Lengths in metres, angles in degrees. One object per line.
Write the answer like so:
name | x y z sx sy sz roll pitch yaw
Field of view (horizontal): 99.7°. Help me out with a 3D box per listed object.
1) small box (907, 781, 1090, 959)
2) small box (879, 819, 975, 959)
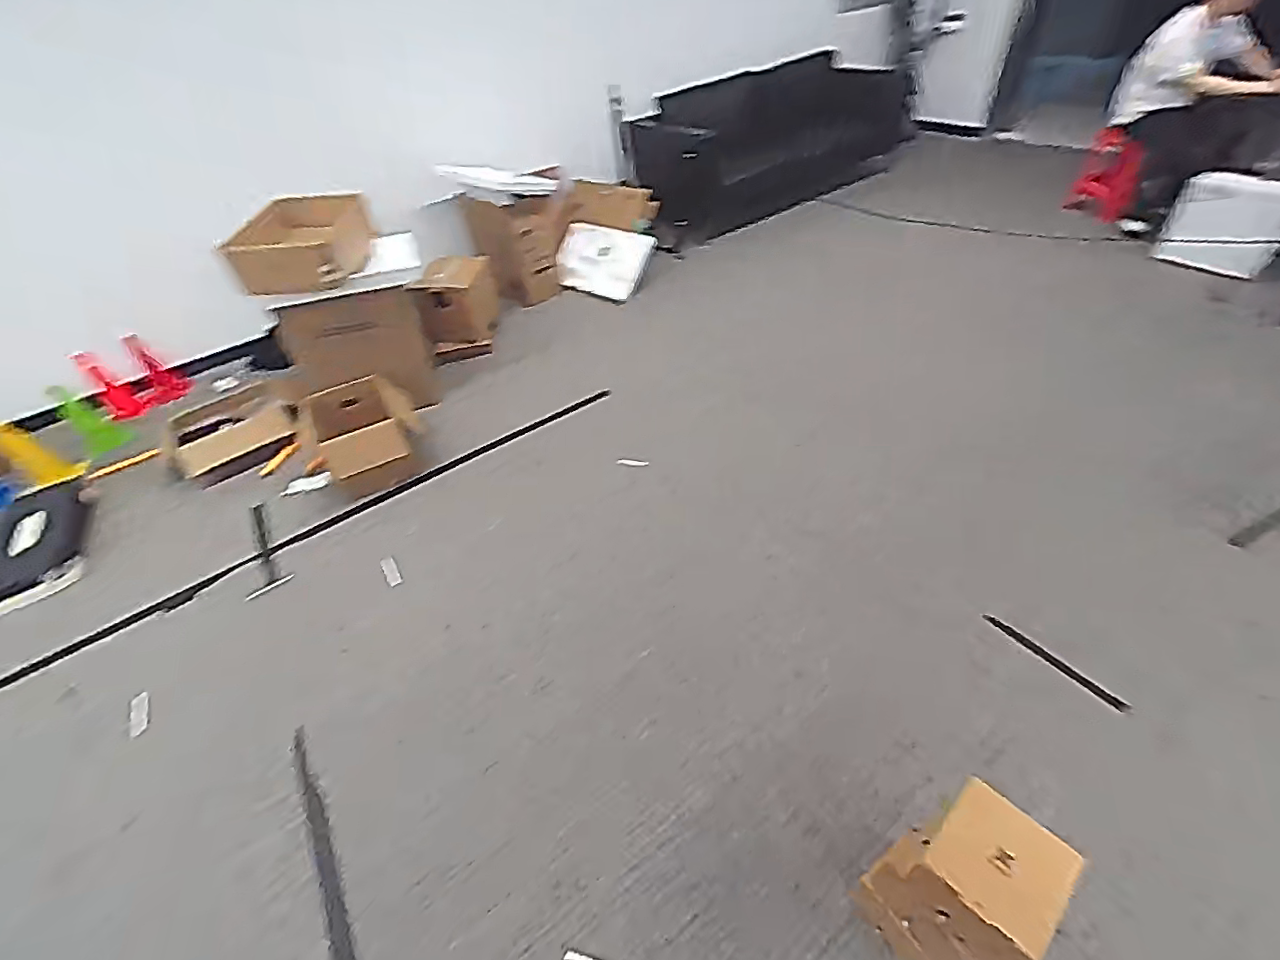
small box | 0.554 0.630 0.858 0.179 0.176 0.168 -35 49 -26
small box | 0.563 0.742 0.977 0.179 0.176 0.168 -26 45 -18
